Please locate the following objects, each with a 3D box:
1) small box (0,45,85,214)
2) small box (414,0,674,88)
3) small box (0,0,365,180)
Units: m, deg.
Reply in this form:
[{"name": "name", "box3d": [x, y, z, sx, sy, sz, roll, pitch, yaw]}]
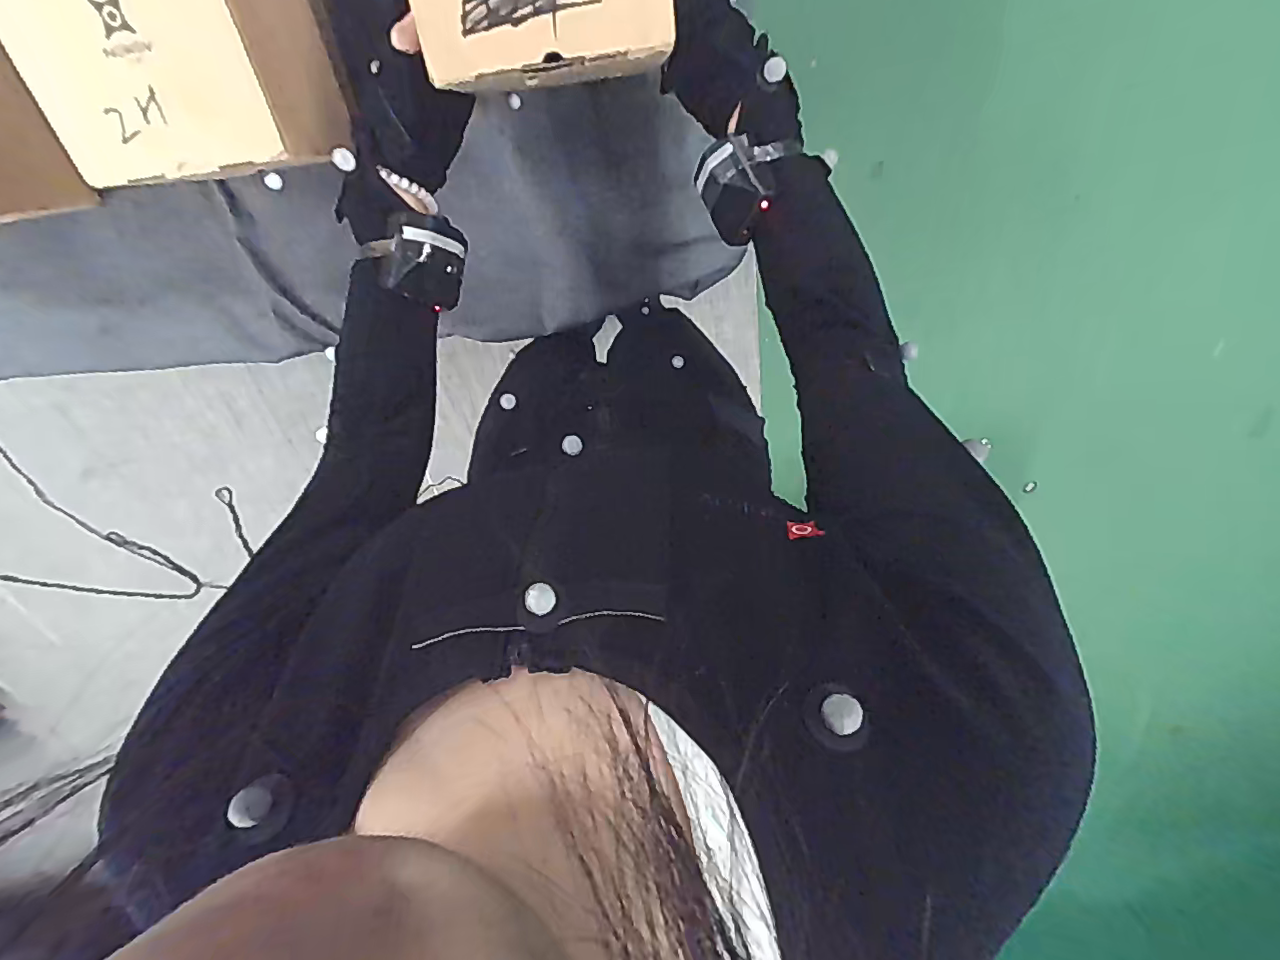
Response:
[{"name": "small box", "box3d": [-0.655, -0.313, 0.451, 0.168, 0.176, 0.179, -8, 123, 1]}, {"name": "small box", "box3d": [-0.069, -0.390, 0.378, 0.168, 0.176, 0.179, -7, 123, 1]}, {"name": "small box", "box3d": [-0.360, -0.355, 0.439, 0.168, 0.176, 0.179, -7, 123, 1]}]
